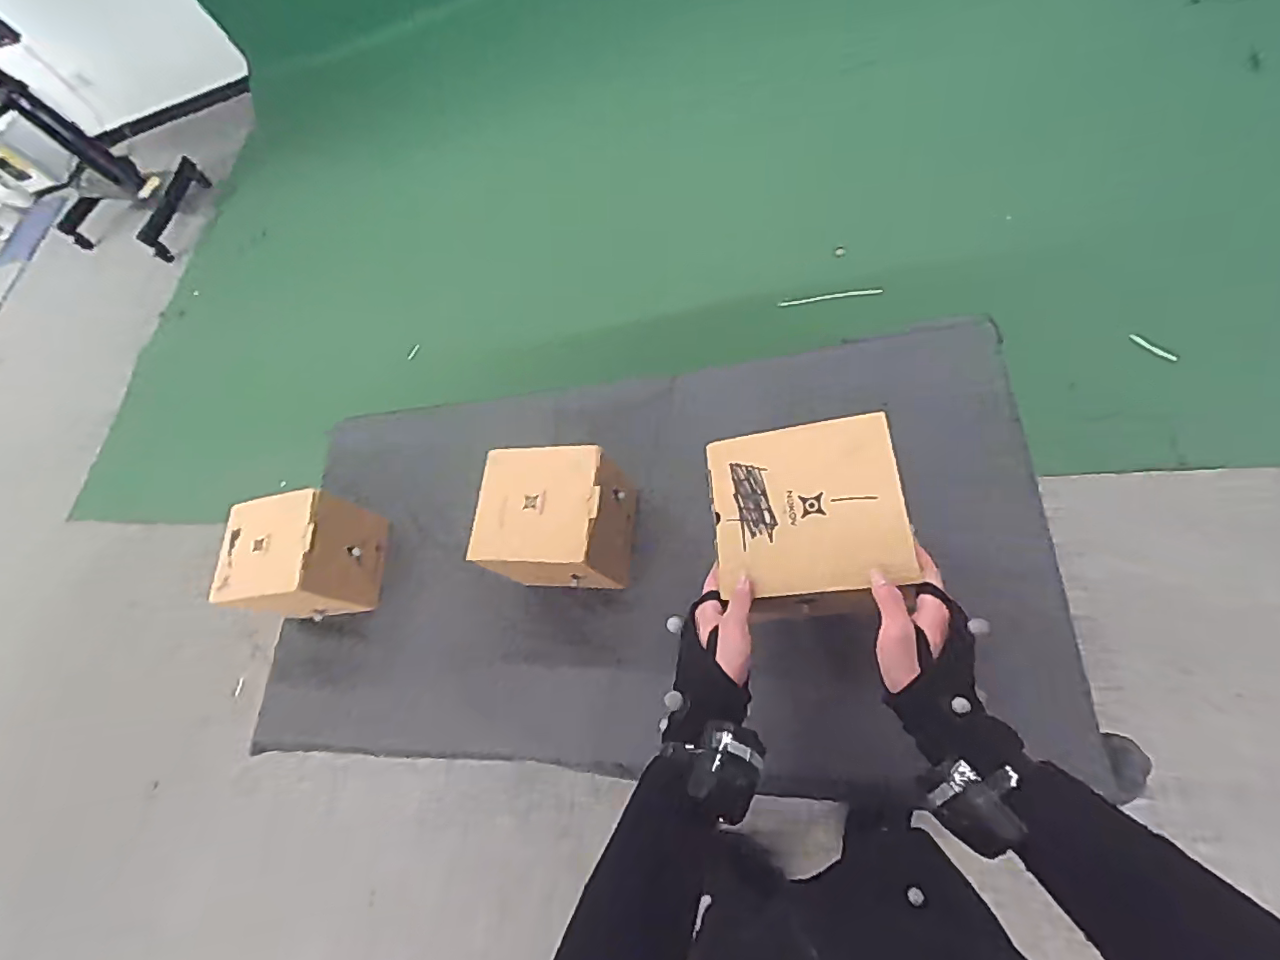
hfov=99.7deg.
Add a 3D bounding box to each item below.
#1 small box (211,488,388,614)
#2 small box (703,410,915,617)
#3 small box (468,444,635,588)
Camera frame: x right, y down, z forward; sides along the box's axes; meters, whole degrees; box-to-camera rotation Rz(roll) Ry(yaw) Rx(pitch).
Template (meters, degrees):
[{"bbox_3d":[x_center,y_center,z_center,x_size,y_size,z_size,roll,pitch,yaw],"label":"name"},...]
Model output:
[{"bbox_3d":[-0.558,0.126,0.912,0.179,0.176,0.168,-9,65,14],"label":"small box"},{"bbox_3d":[0.175,0.049,0.573,0.179,0.176,0.168,-9,67,18],"label":"small box"},{"bbox_3d":[-0.117,0.059,0.795,0.179,0.176,0.168,-2,66,19],"label":"small box"}]
